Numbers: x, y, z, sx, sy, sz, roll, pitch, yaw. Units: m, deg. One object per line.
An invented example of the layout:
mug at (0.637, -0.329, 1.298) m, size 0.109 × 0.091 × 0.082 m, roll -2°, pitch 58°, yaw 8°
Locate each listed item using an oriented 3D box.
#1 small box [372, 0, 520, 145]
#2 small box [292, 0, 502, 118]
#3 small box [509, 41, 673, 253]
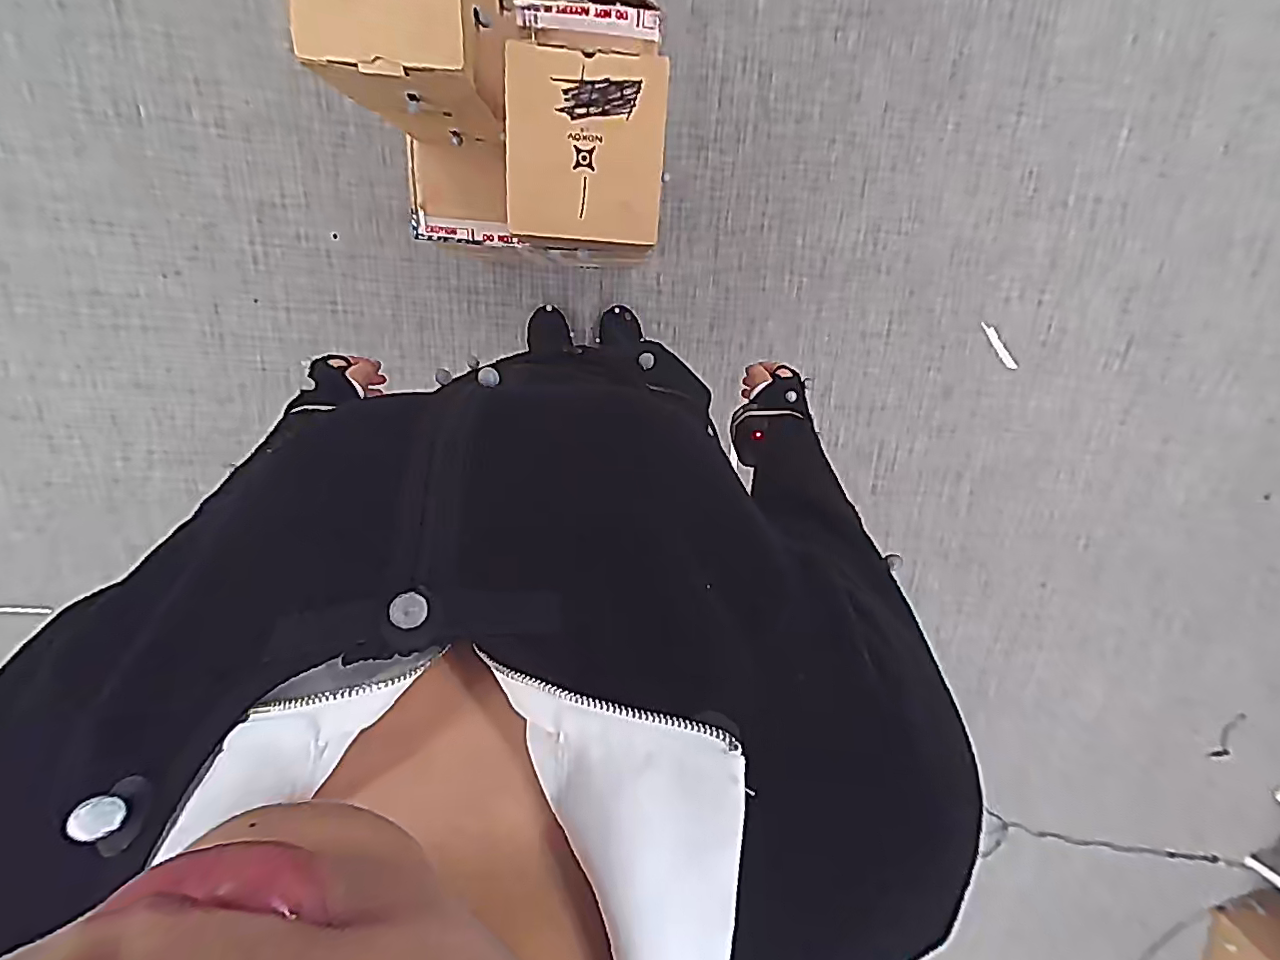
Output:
small box at (-0.258, -0.577, 0.732) m, size 0.168 × 0.176 × 0.179 m, roll 1°, pitch 110°, yaw -1°
small box at (-0.248, -0.513, 0.580) m, size 0.168 × 0.176 × 0.179 m, roll 3°, pitch 110°, yaw -2°
small box at (-0.059, -0.374, 0.641) m, size 0.168 × 0.176 × 0.179 m, roll 3°, pitch 111°, yaw -4°
